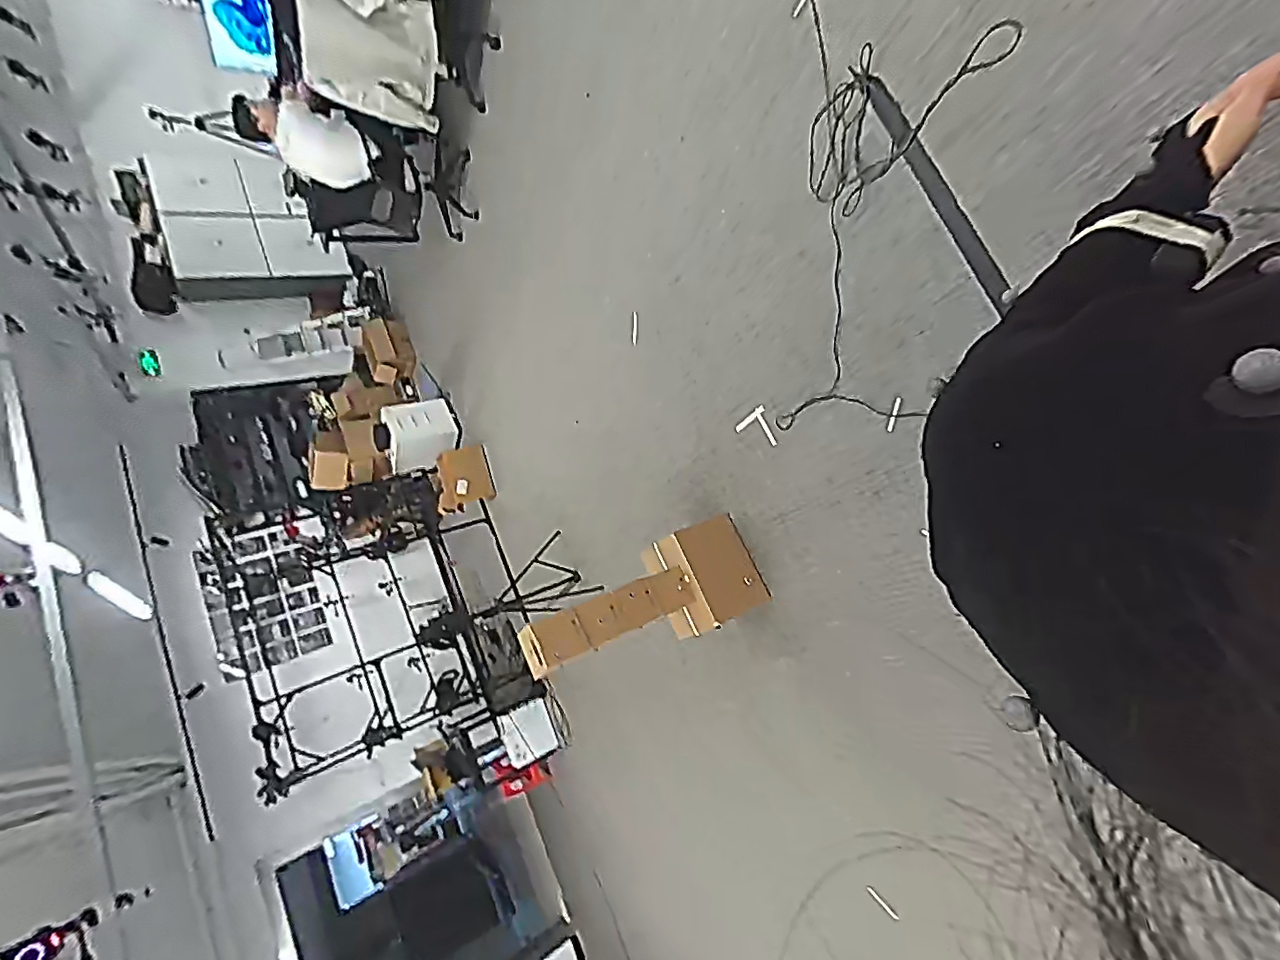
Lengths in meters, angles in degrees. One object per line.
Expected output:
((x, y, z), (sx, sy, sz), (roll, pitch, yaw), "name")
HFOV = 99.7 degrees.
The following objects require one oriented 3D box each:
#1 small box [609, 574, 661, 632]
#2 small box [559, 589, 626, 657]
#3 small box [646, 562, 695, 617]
((-0.040, 0.479, 2.078), (0.168, 0.176, 0.179), (65, 146, 15), "small box")
((-0.172, 0.523, 1.989), (0.168, 0.176, 0.179), (63, 144, 18), "small box")
((0.089, 0.447, 2.171), (0.179, 0.176, 0.168), (-43, 68, 53), "small box")
